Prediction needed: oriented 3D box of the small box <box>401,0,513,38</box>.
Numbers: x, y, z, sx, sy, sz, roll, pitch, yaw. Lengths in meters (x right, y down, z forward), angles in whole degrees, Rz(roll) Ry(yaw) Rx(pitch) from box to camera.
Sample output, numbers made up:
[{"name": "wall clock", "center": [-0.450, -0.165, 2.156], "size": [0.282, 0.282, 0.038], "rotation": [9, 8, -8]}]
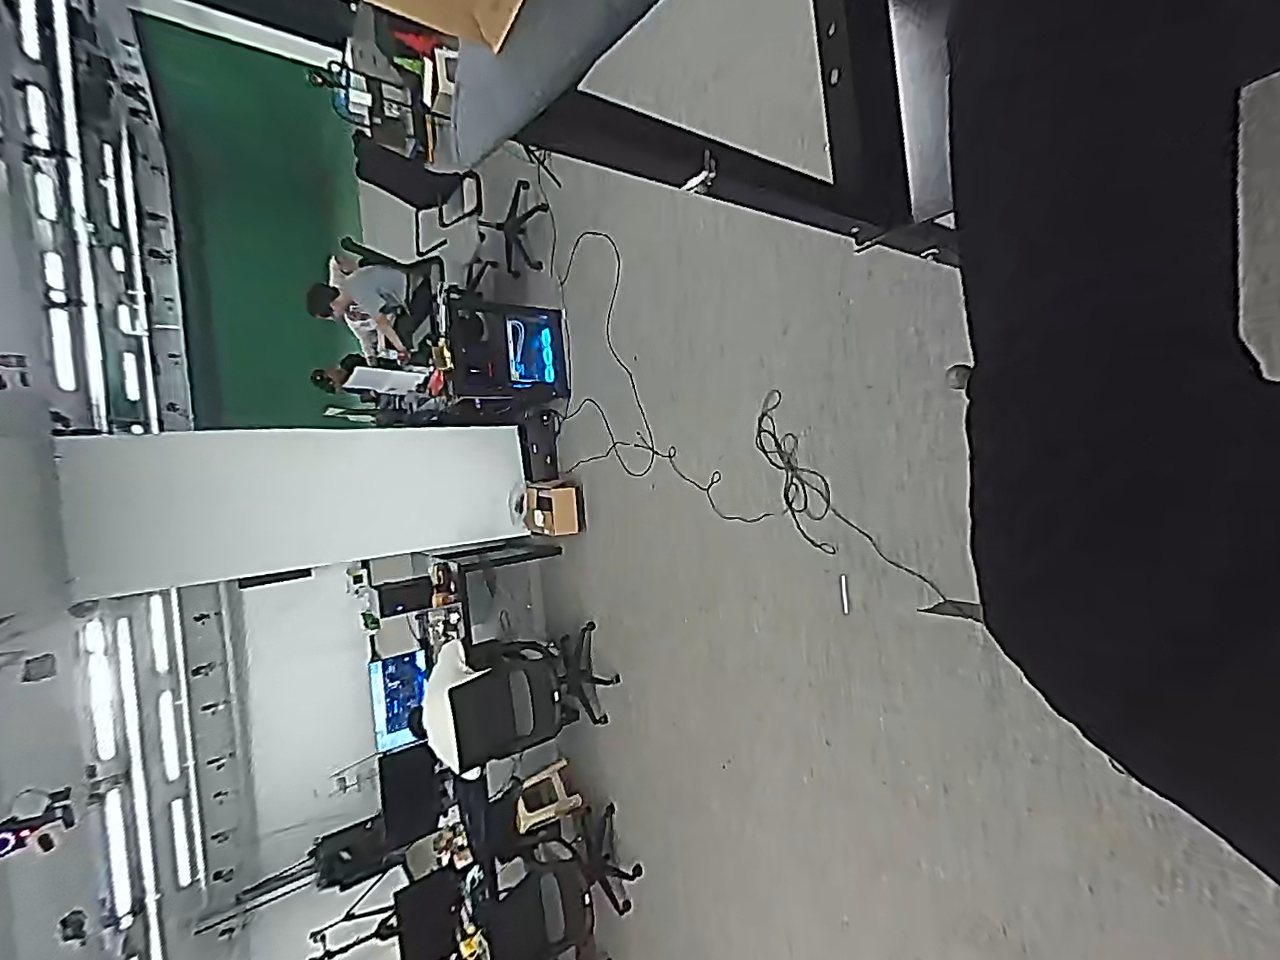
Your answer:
[{"name": "small box", "center": [-0.176, -0.512, 0.424], "size": [0.168, 0.176, 0.179], "rotation": [-12, 85, 54]}]
